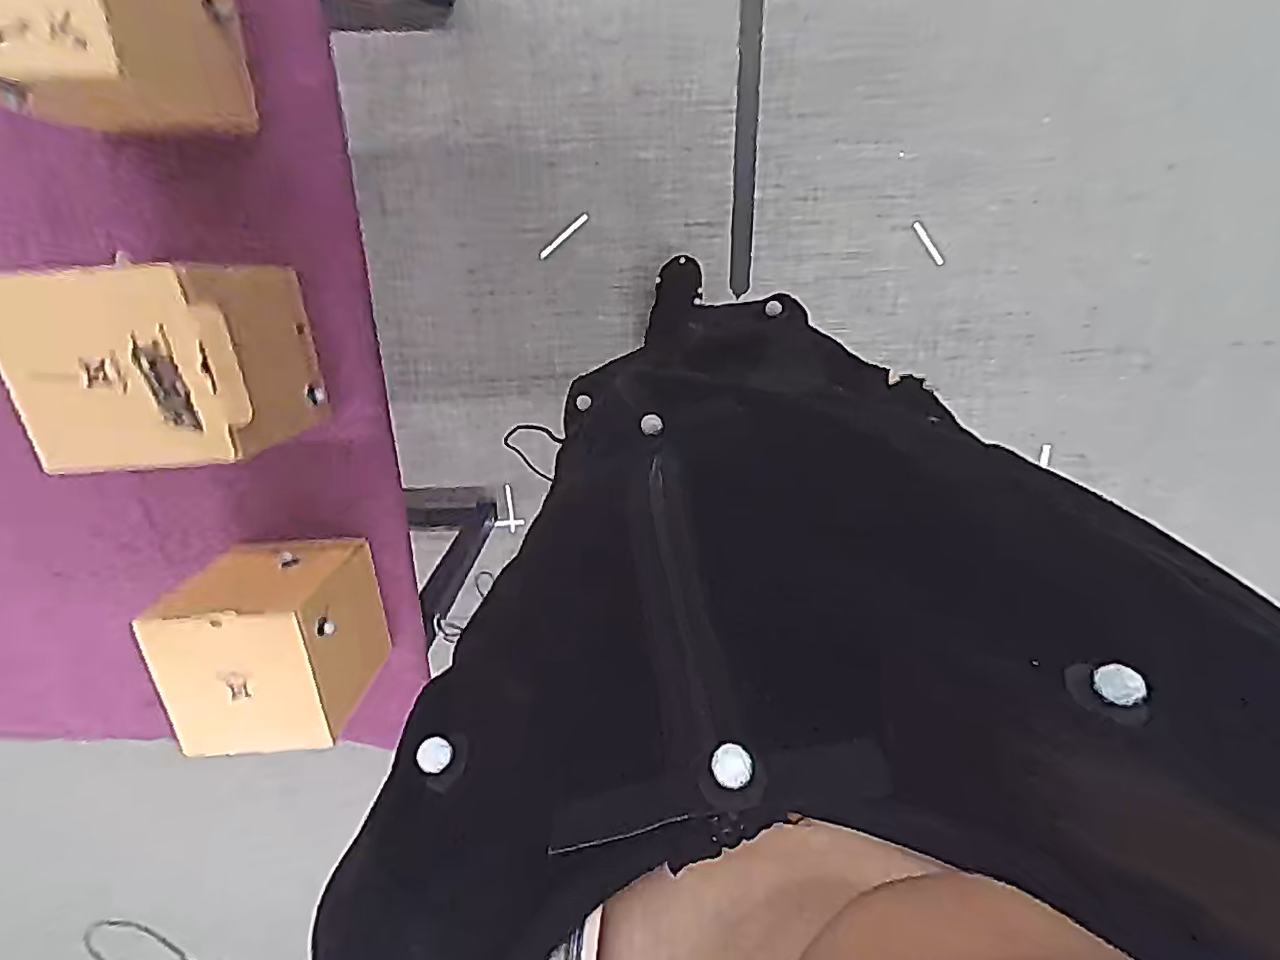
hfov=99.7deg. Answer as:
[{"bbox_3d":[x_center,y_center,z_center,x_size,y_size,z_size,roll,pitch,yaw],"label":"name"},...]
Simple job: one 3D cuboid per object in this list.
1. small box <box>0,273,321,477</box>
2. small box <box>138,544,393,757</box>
[{"bbox_3d":[-0.445,-0.111,0.529,0.179,0.176,0.168,-4,110,-1],"label":"small box"},{"bbox_3d":[-0.418,0.193,0.642,0.168,0.176,0.179,-3,110,-1],"label":"small box"}]
